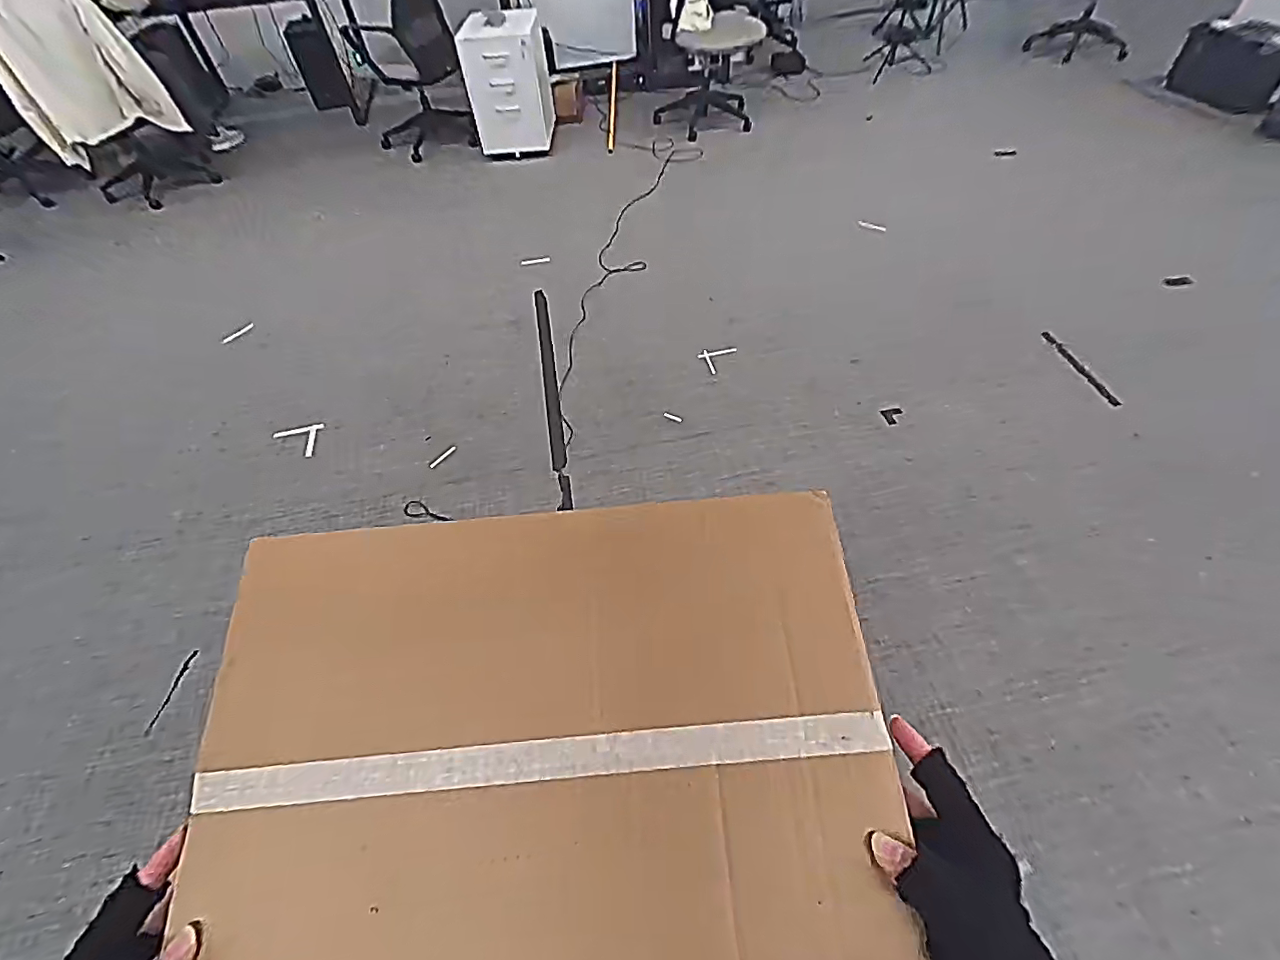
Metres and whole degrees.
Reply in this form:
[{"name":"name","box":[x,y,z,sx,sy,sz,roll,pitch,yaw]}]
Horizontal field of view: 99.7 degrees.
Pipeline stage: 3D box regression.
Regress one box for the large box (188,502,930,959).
[{"name":"large box","box":[-0.050,0.235,0.462,0.408,0.320,0.320,-5,66,0]}]
